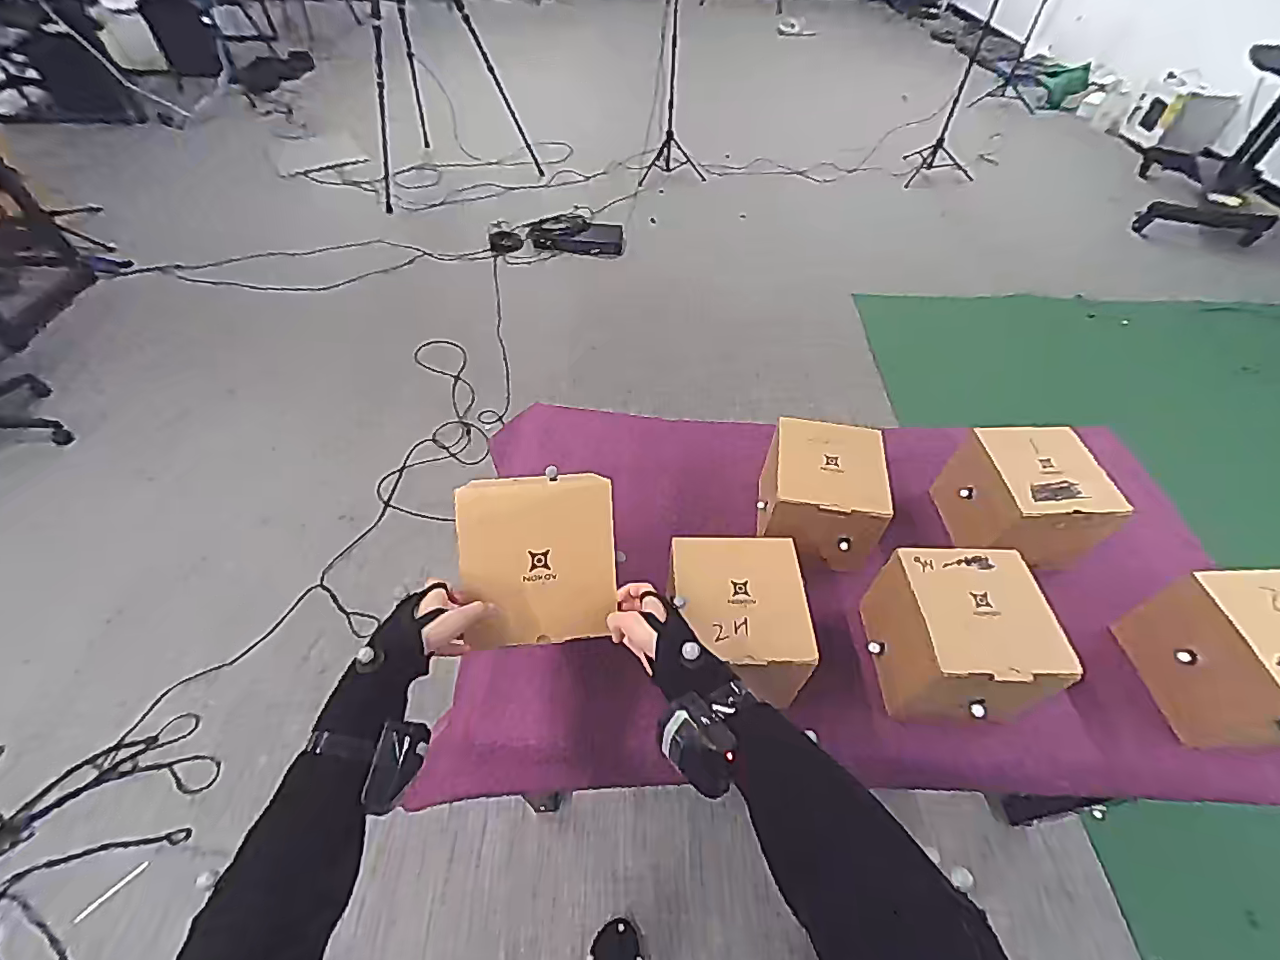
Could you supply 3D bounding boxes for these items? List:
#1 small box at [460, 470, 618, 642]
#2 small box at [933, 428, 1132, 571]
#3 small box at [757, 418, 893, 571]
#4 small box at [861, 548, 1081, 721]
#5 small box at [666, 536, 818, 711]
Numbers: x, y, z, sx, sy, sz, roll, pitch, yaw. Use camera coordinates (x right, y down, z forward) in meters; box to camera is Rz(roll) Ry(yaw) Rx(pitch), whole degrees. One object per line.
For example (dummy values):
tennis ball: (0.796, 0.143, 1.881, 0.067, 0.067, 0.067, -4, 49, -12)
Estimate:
small box: (-0.122, 0.077, 0.656, 0.168, 0.176, 0.179, -3, 94, -11)
small box: (0.615, 0.035, 0.877, 0.168, 0.176, 0.179, 0, 50, -2)
small box: (0.289, 0.027, 0.878, 0.168, 0.176, 0.179, 9, 51, 5)
small box: (0.421, 0.211, 0.726, 0.168, 0.176, 0.179, 2, 50, 0)
small box: (0.123, 0.195, 0.733, 0.168, 0.176, 0.179, 1, 50, 0)
